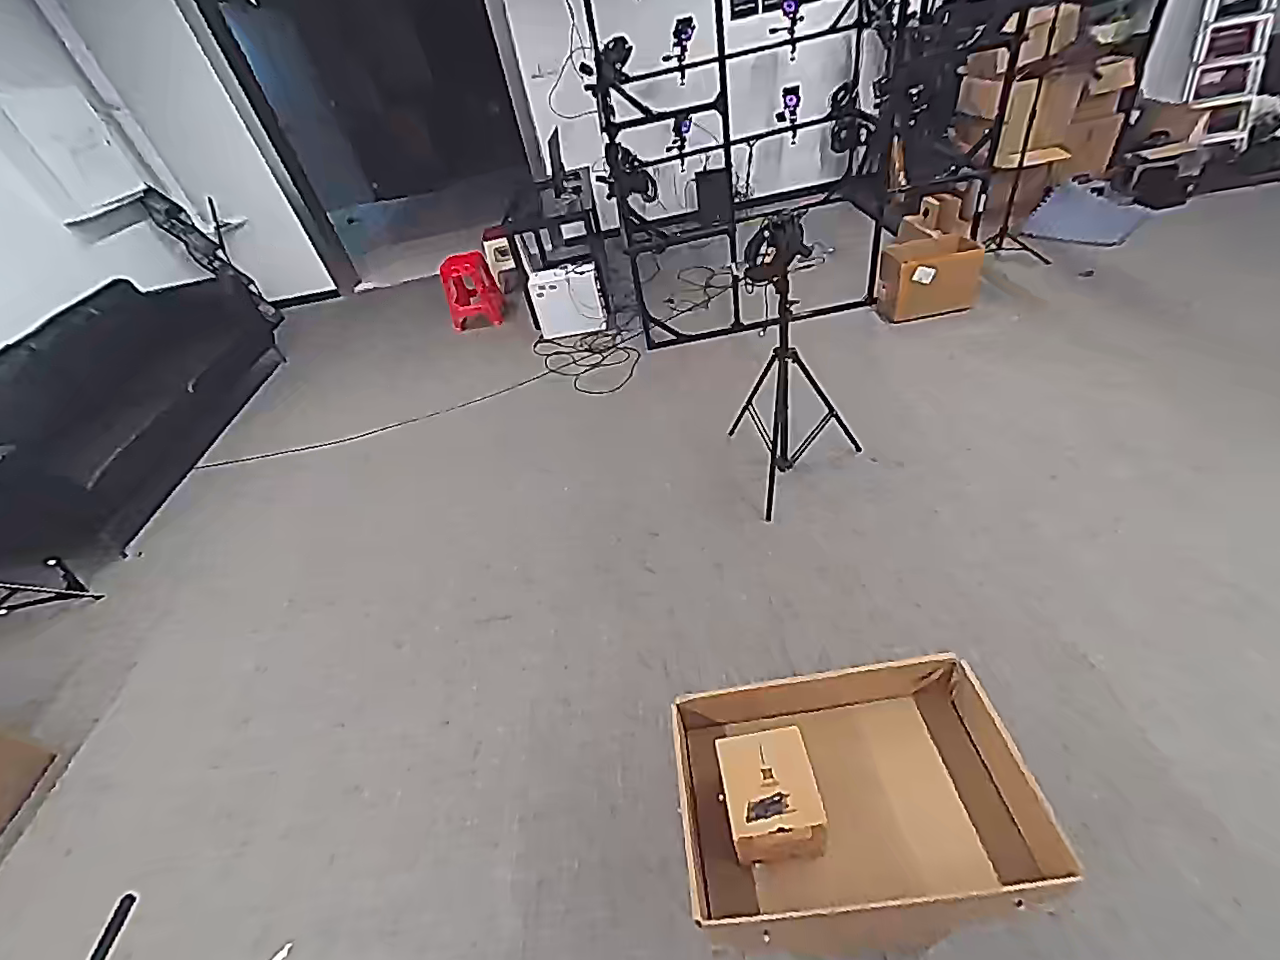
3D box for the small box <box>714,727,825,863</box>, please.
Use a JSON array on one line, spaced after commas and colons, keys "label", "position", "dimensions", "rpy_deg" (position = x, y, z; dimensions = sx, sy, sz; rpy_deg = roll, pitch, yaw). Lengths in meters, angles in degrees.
[{"label": "small box", "position": [0.246, 0.608, 1.035], "dimensions": [0.168, 0.176, 0.179], "rpy_deg": [-12, 40, 4]}]
